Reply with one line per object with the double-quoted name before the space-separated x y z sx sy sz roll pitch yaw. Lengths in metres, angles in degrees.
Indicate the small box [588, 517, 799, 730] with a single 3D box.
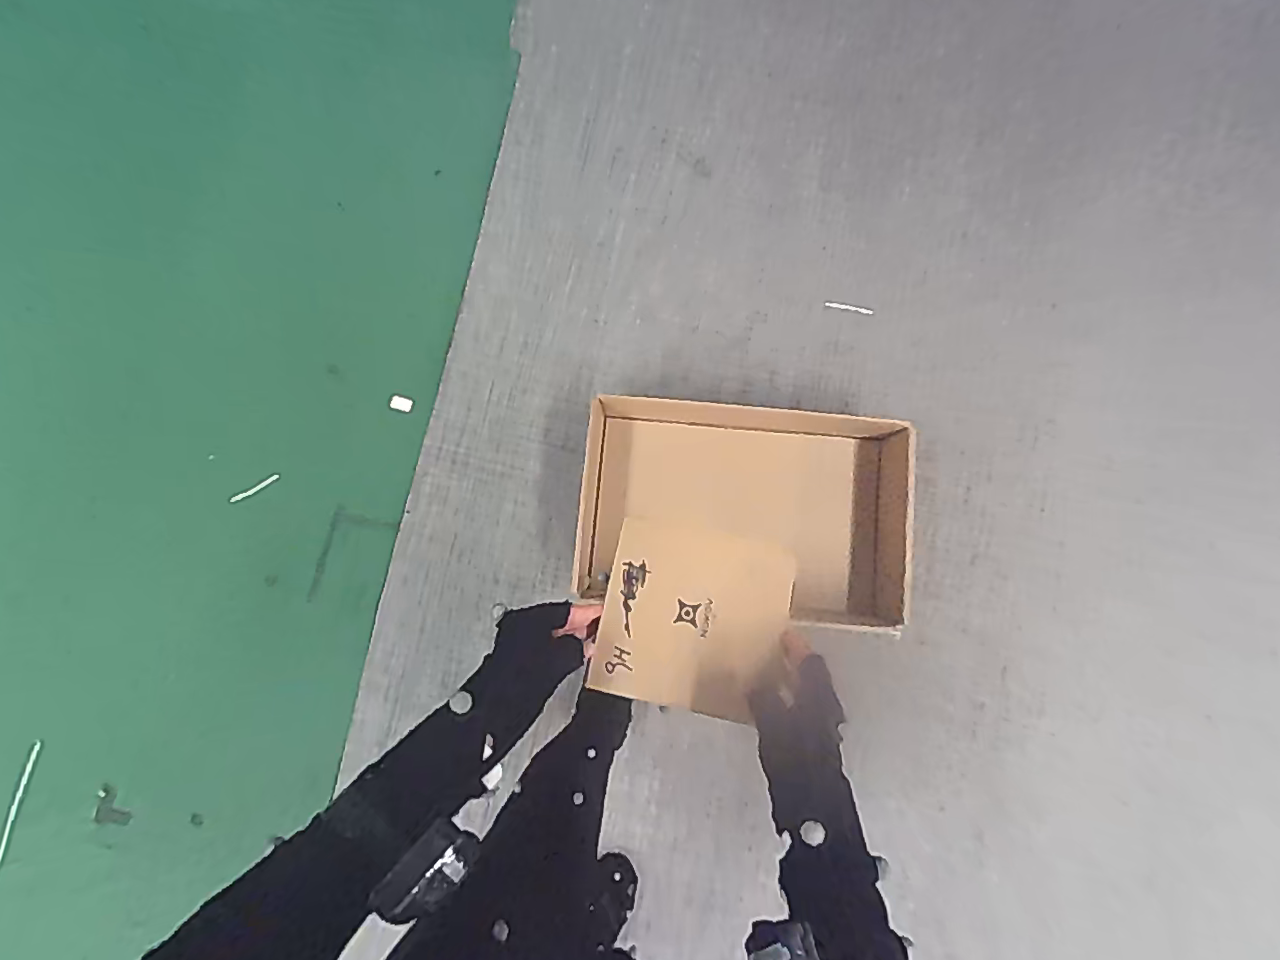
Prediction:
"small box" 0.051 0.152 0.585 0.179 0.176 0.168 13 73 2
